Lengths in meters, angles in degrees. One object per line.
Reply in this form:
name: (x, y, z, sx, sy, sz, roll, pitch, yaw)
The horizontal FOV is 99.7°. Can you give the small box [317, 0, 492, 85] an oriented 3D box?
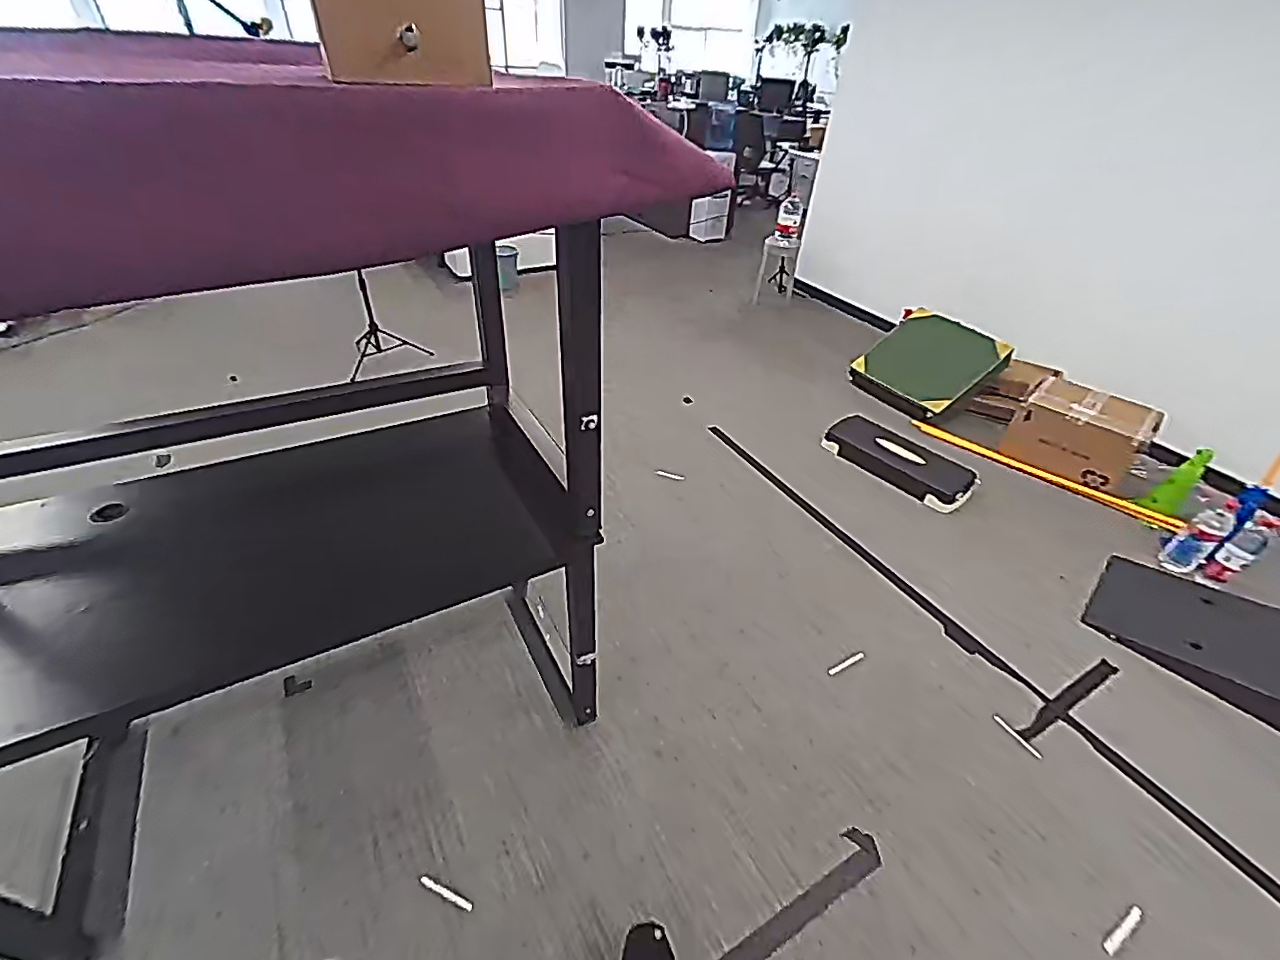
small box: (-0.272, -0.556, 0.612, 0.179, 0.176, 0.168, -14, 40, -21)
